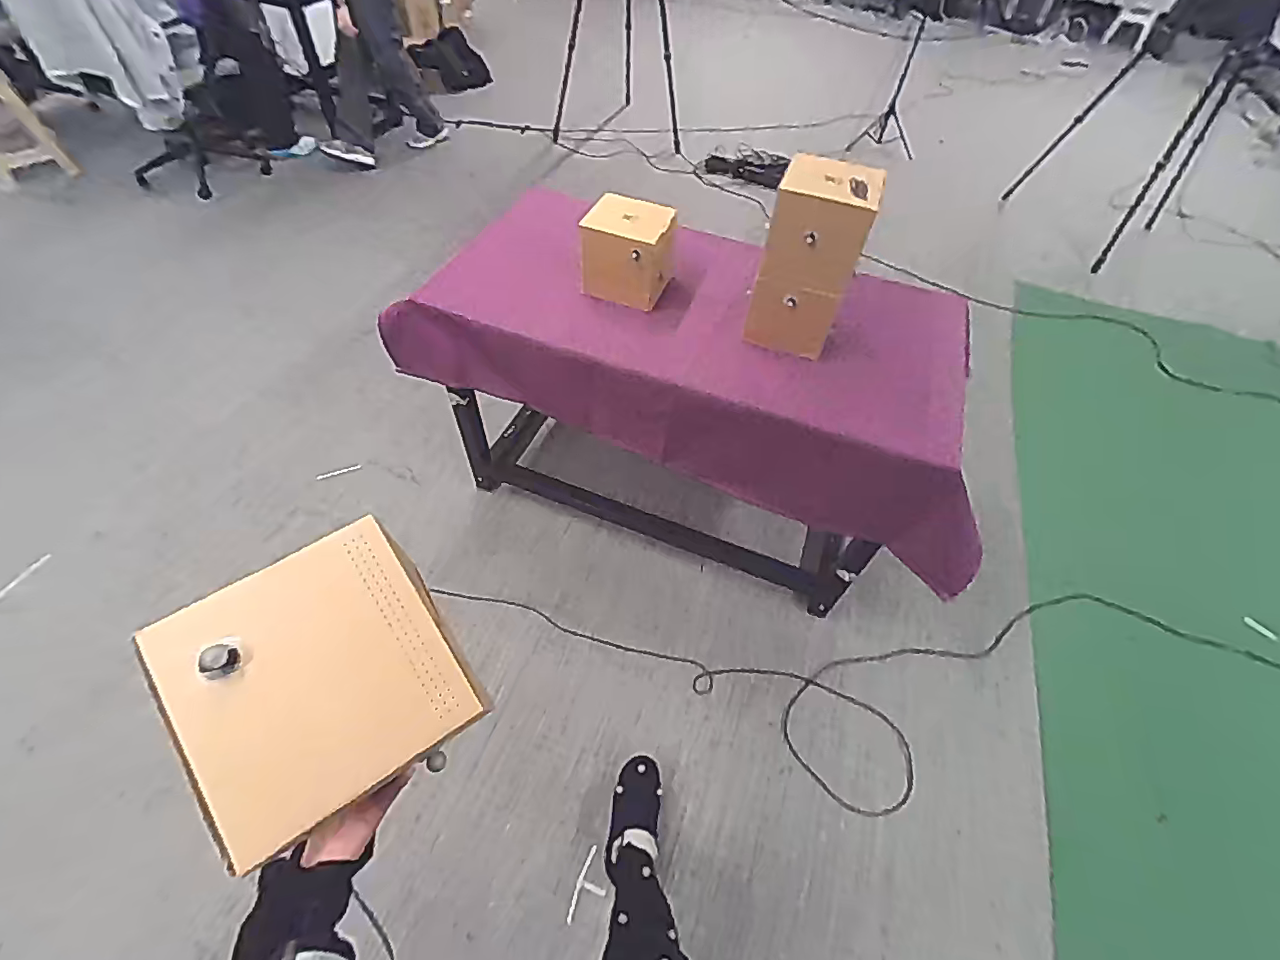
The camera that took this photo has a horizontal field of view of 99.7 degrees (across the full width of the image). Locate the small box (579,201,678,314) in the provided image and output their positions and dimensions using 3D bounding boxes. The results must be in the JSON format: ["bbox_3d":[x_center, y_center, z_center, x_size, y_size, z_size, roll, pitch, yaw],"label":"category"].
[{"bbox_3d":[-0.028,-0.510,1.247,0.179,0.176,0.168,18,53,9],"label":"small box"}]

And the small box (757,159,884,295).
[{"bbox_3d":[0.344,-0.482,1.043,0.179,0.176,0.168,18,54,11],"label":"small box"}]

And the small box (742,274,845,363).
[{"bbox_3d":[0.334,-0.381,1.171,0.179,0.176,0.168,20,54,10],"label":"small box"}]

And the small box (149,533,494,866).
[{"bbox_3d":[-0.239,0.163,0.453,0.176,0.168,0.179,-31,77,-21],"label":"small box"}]
